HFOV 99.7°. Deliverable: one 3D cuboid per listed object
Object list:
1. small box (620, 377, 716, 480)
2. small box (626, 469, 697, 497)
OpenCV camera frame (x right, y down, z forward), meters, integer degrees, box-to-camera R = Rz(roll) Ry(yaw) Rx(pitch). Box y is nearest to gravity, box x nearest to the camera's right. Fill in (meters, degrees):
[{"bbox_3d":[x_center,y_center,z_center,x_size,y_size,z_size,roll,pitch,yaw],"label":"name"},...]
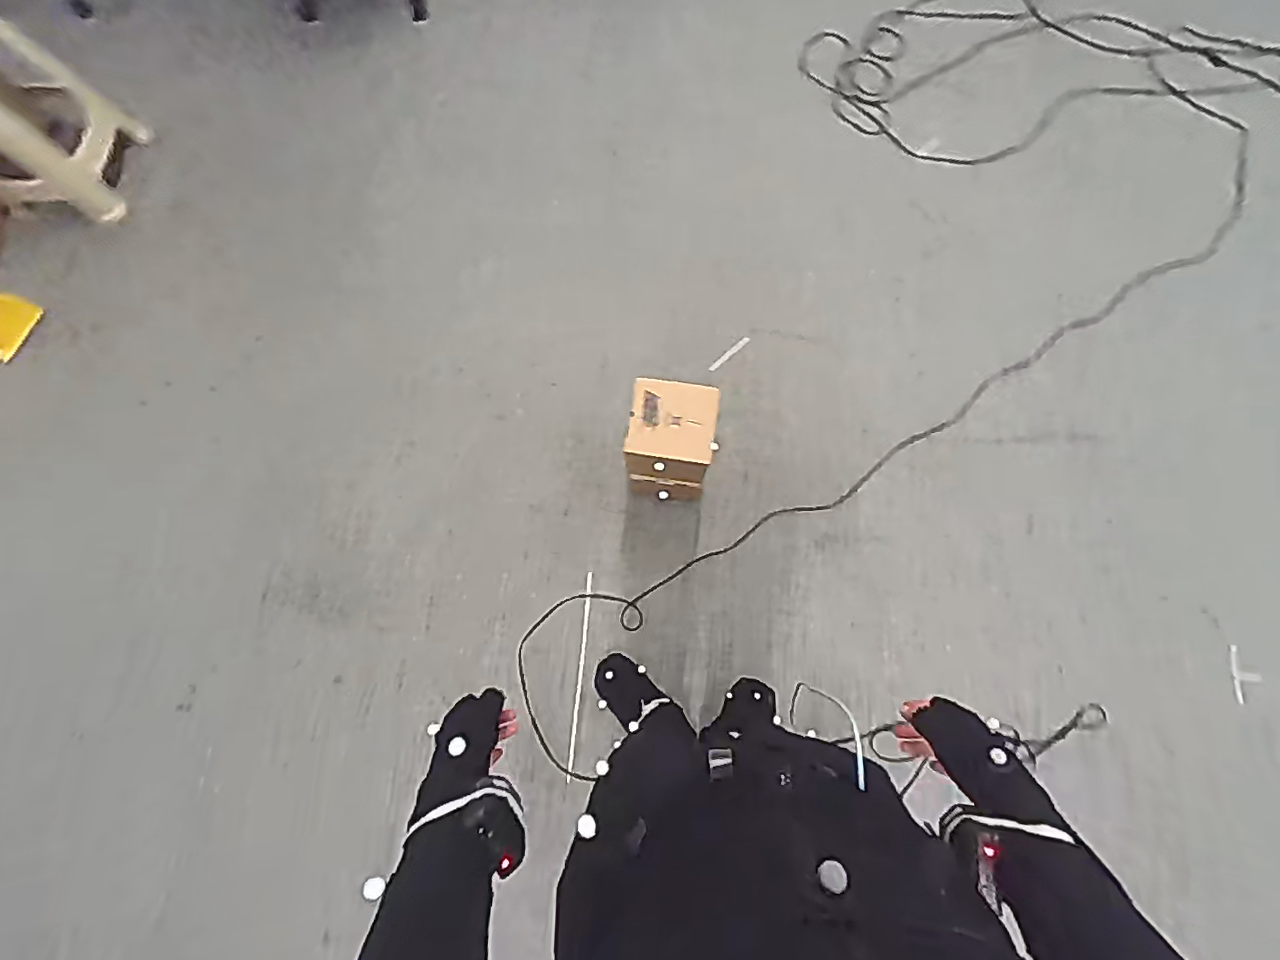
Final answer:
[{"bbox_3d":[0.059,-0.104,1.163,0.179,0.176,0.168,8,77,3],"label":"small box"},{"bbox_3d":[0.062,-0.060,1.323,0.168,0.176,0.179,7,78,3],"label":"small box"}]
